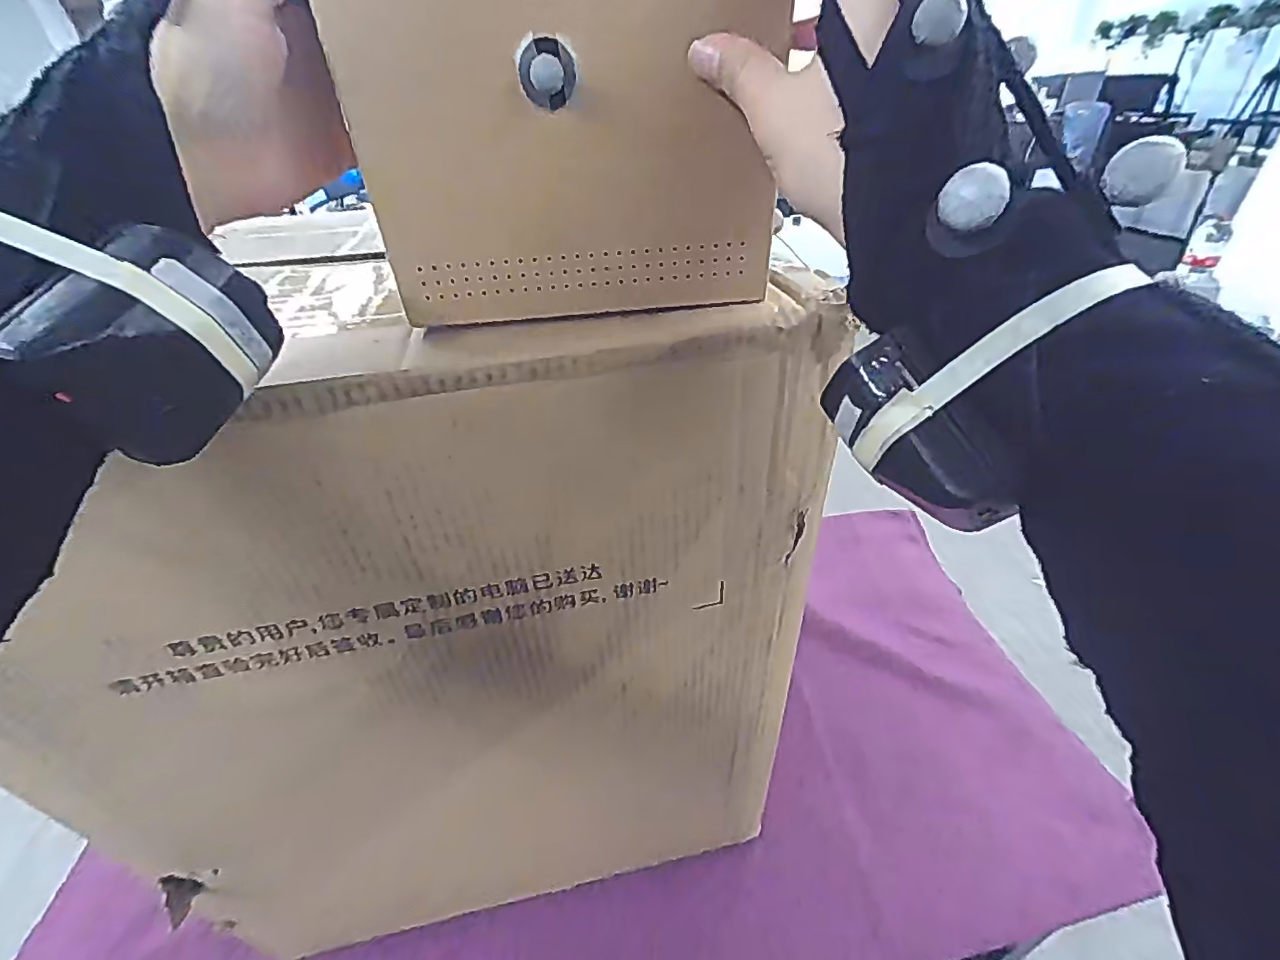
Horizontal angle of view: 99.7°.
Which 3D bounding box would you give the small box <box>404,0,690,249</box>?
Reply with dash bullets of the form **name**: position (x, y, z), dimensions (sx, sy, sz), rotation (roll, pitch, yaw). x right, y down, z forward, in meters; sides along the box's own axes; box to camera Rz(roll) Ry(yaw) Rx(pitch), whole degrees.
- **small box**: position (-0.064, -0.287, 0.421), dimensions (0.179, 0.176, 0.168), rotation (-9, 35, -7)
